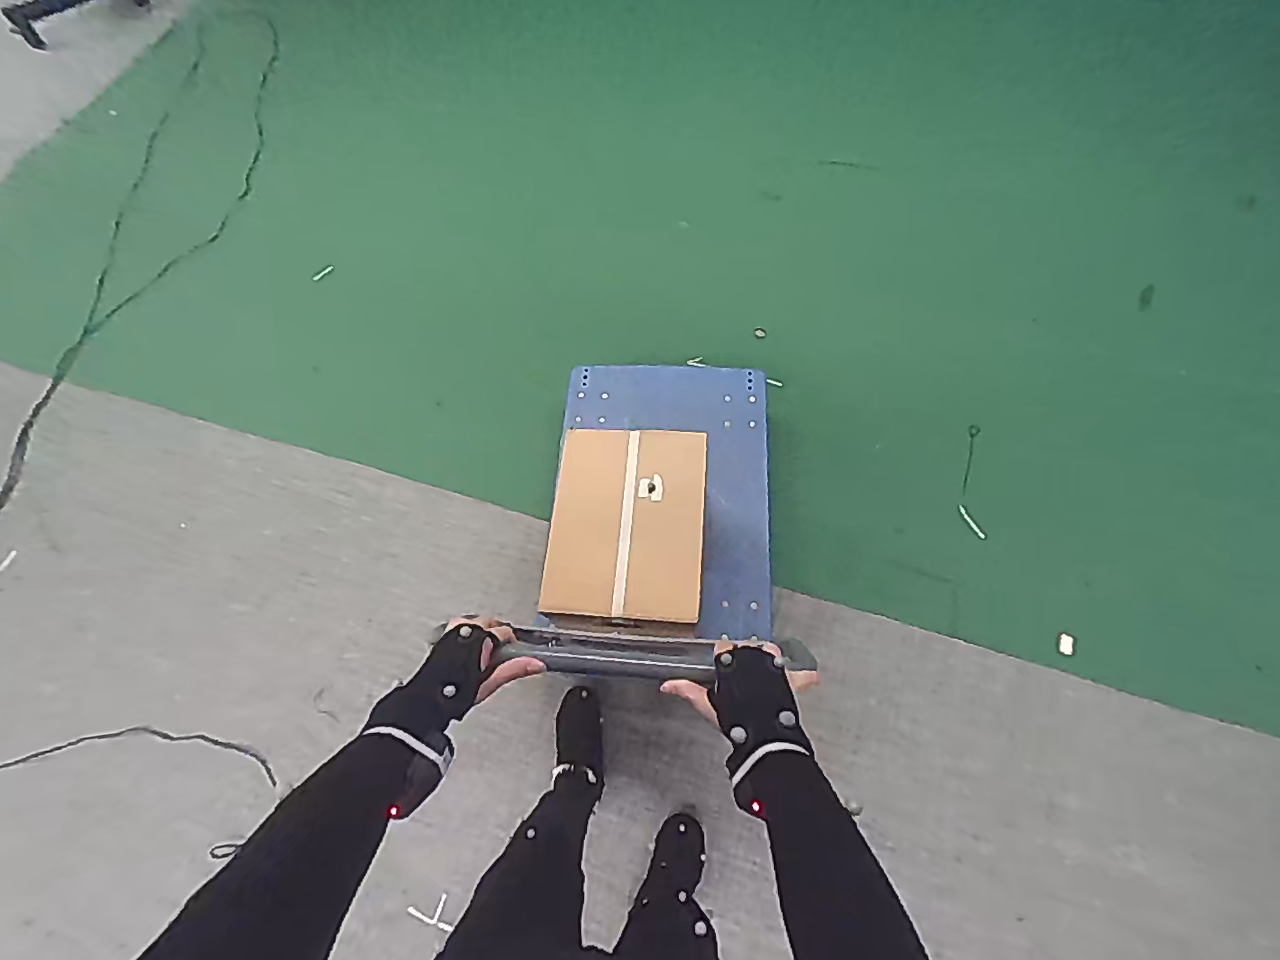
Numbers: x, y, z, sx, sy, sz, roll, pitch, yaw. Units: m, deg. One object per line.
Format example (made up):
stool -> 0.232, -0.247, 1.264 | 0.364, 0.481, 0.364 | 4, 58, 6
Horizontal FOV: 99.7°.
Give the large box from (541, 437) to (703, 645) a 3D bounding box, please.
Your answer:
large box -> -0.015, 0.151, 1.247 | 0.320, 0.320, 0.408 | 3, 66, 6
